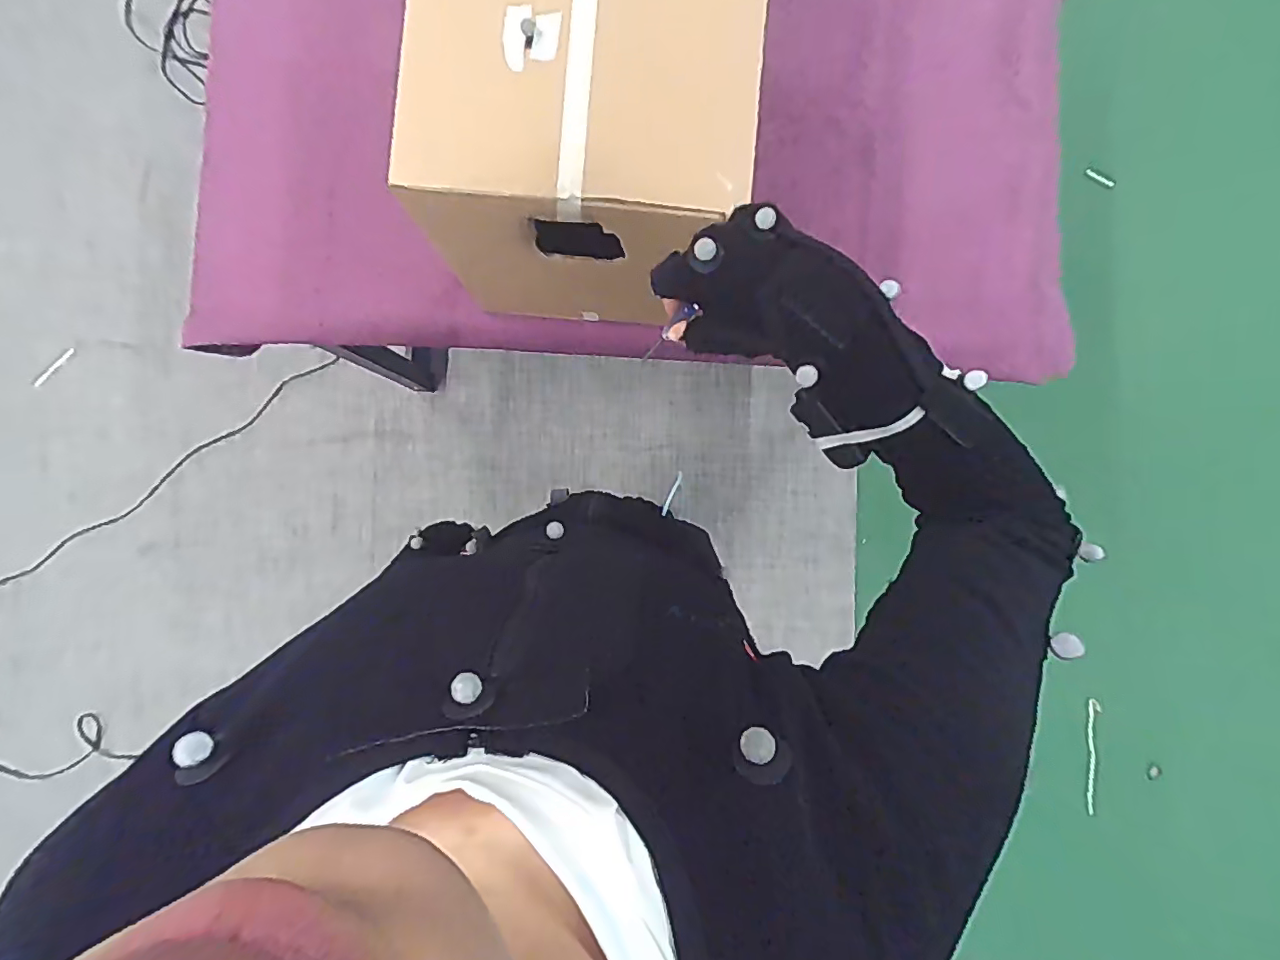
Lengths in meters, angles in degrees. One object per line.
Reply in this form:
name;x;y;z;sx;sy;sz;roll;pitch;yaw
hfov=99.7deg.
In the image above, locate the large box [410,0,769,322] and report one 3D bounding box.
large box;-0.043;-0.441;0.634;0.320;0.320;0.408;5;89;-1
